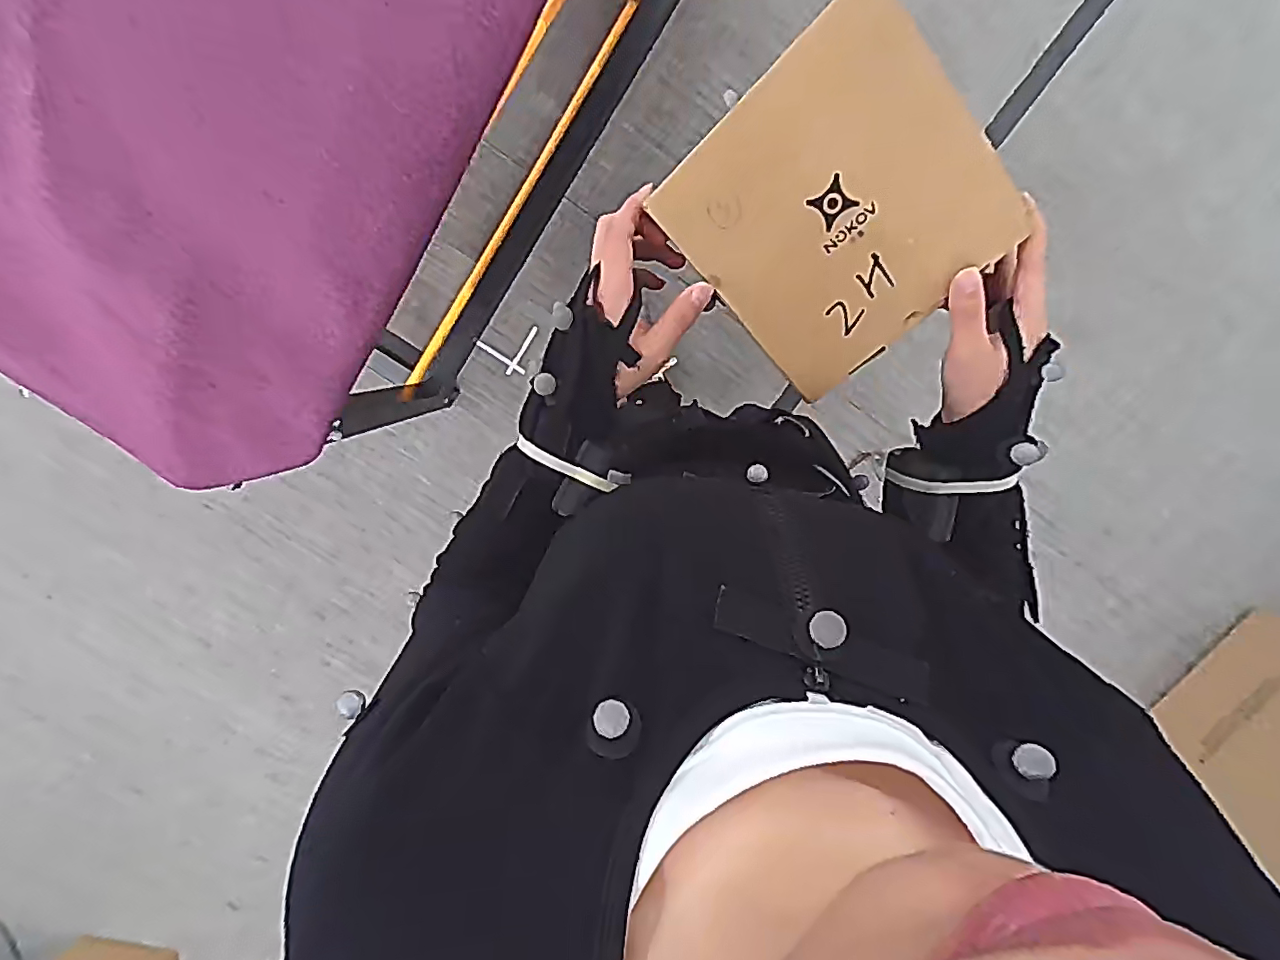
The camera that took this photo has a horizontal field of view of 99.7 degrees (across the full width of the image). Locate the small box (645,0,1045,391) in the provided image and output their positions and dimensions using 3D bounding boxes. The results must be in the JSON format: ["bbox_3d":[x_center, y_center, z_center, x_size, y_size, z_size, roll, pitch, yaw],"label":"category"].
[{"bbox_3d":[0.122,-0.197,0.387,0.168,0.176,0.179,-39,107,21],"label":"small box"}]
